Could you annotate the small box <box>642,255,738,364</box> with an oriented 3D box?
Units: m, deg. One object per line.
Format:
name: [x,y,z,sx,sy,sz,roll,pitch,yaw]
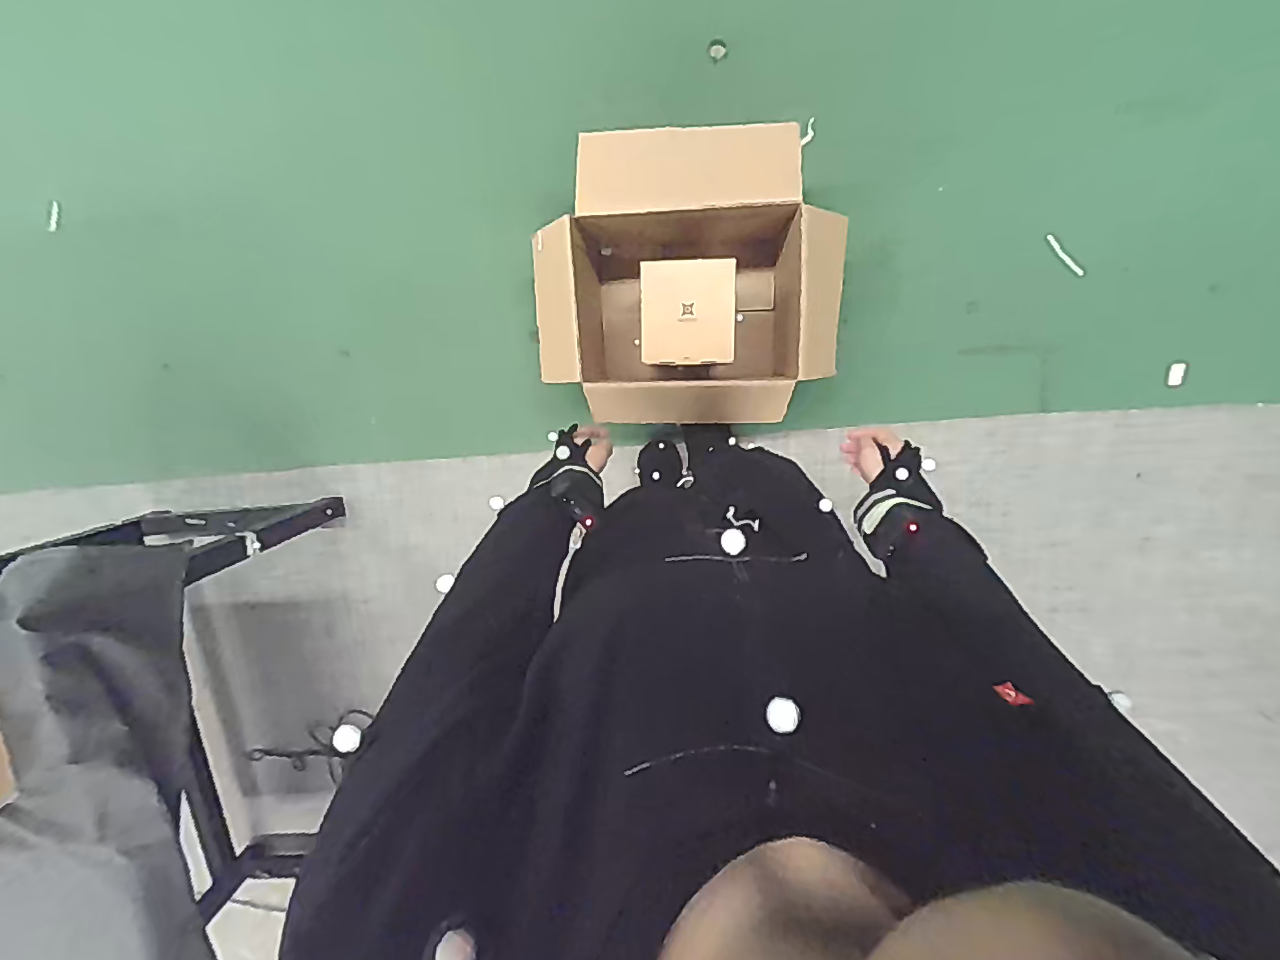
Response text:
small box: [0.090,-0.309,1.011,0.168,0.176,0.179,0,102,5]
